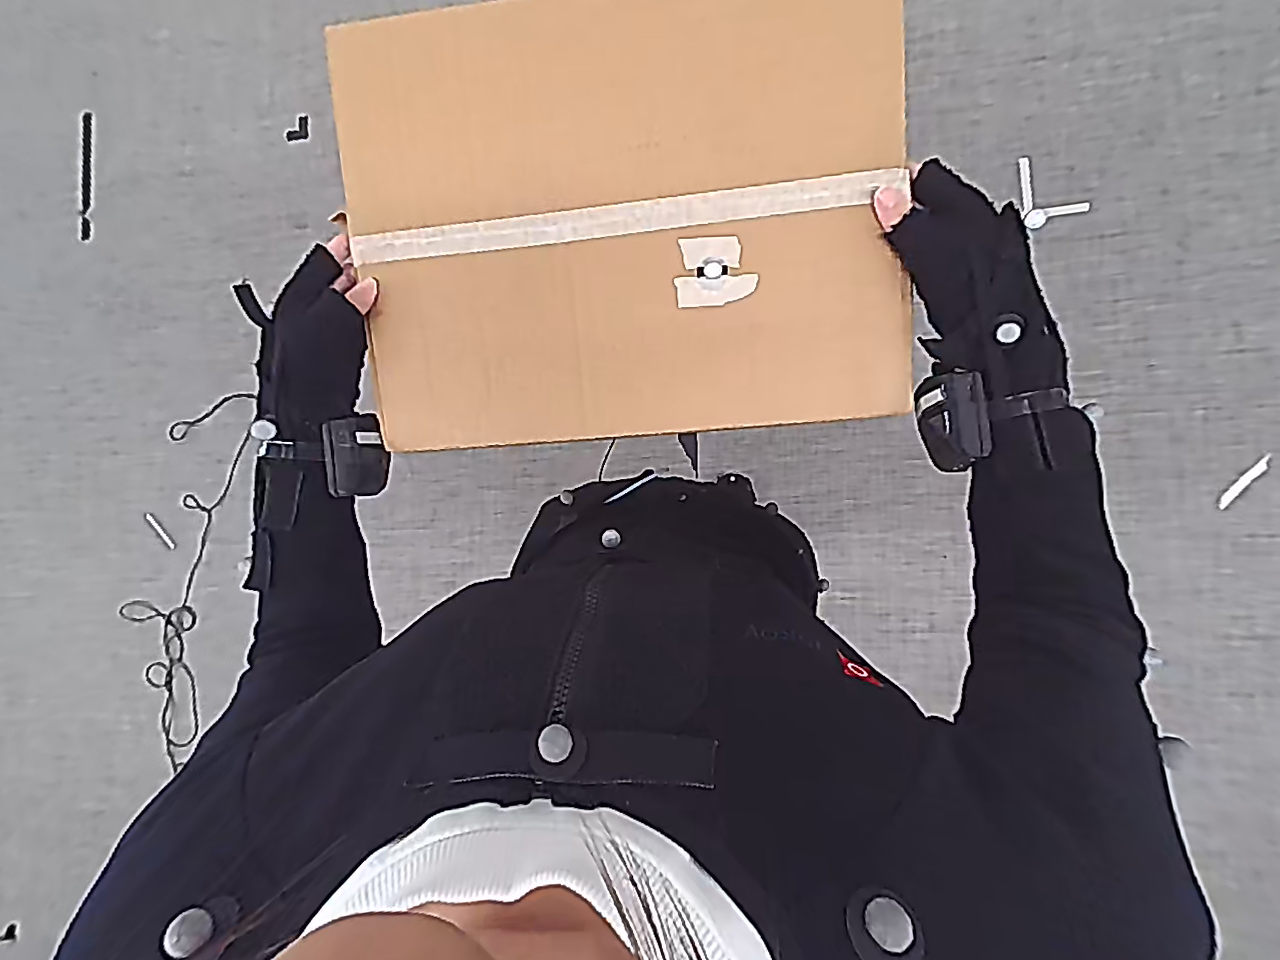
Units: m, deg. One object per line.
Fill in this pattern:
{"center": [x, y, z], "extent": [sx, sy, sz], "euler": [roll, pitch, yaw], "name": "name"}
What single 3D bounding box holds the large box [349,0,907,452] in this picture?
{"center": [0.000, -0.210, 0.553], "extent": [0.408, 0.320, 0.320], "euler": [-5, 98, 5], "name": "large box"}
